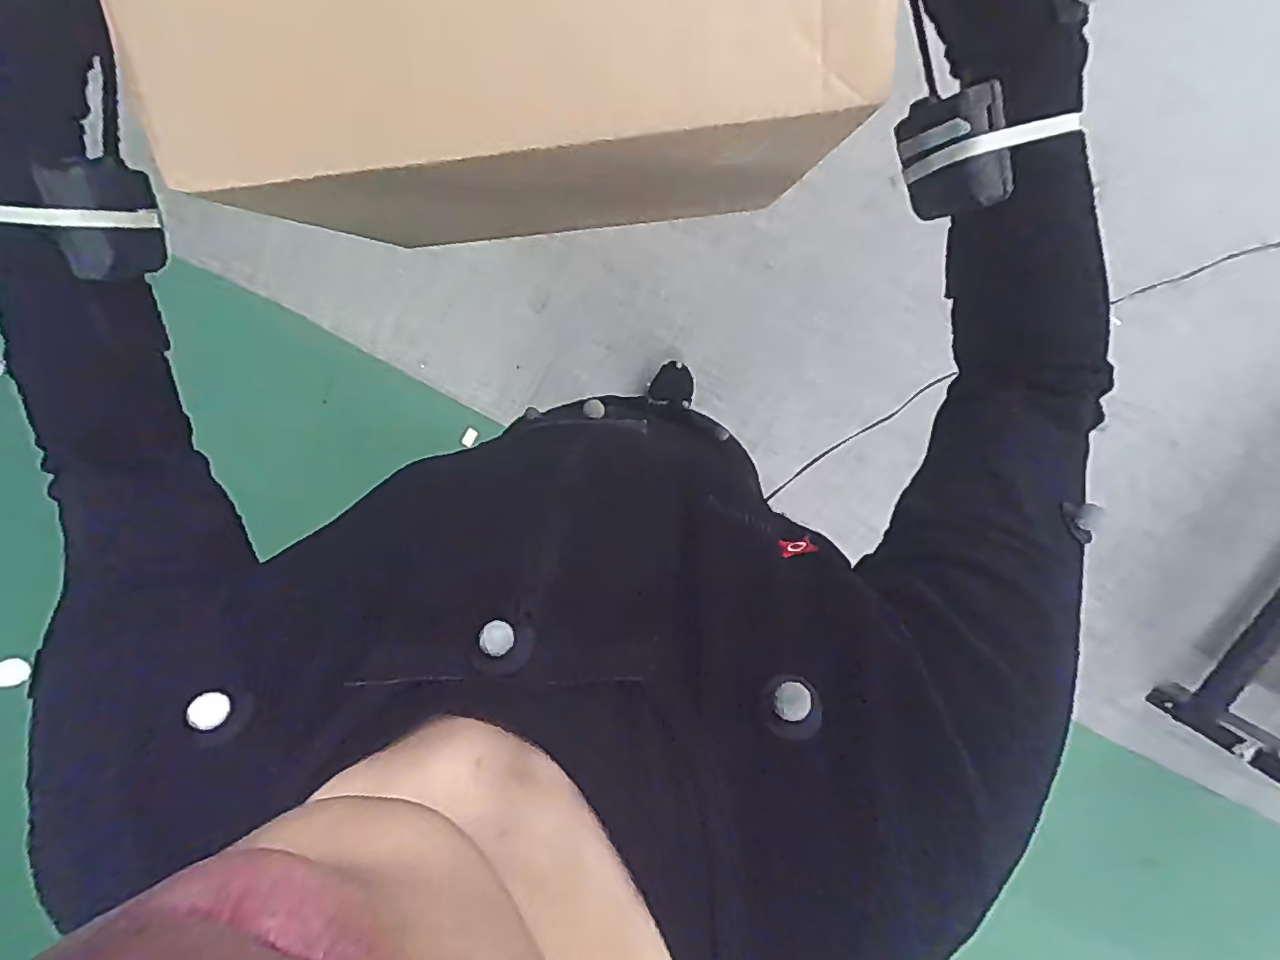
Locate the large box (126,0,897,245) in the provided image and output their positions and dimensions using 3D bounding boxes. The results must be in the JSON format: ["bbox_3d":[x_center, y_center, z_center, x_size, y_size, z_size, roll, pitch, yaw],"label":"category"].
[{"bbox_3d":[-0.079,-0.379,0.397,0.408,0.320,0.320,-6,108,2],"label":"large box"}]
